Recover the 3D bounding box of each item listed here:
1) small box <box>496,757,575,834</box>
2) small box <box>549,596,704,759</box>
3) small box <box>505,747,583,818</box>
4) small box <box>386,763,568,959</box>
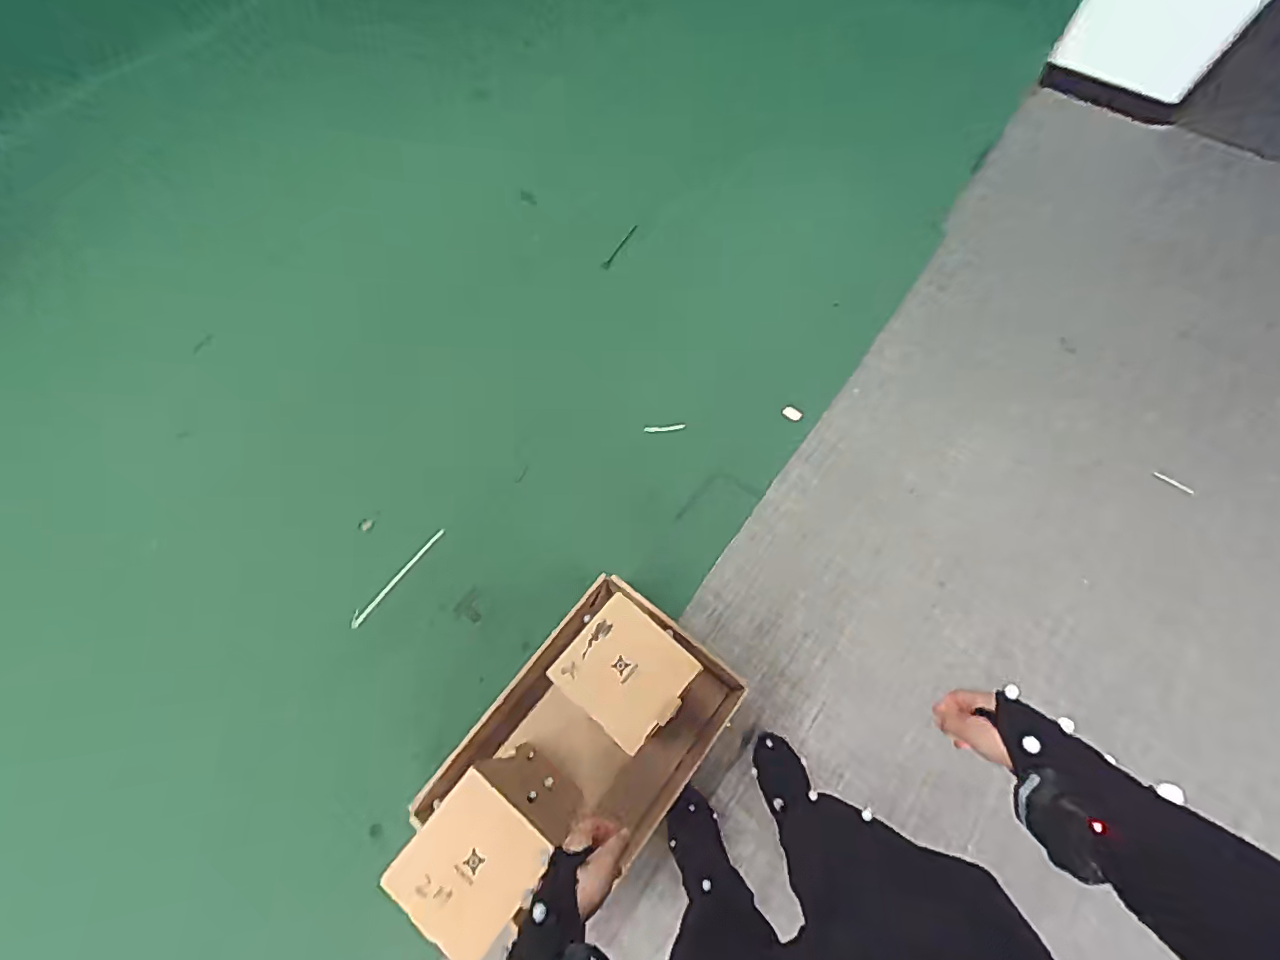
[{"bbox_3d":[-0.228,0.613,0.937,0.168,0.176,0.179,36,71,13],"label":"small box"},{"bbox_3d":[-0.019,0.313,0.881,0.179,0.176,0.168,39,75,13],"label":"small box"},{"bbox_3d":[-0.232,0.666,1.092,0.179,0.176,0.168,35,72,13],"label":"small box"},{"bbox_3d":[-0.220,0.543,0.787,0.168,0.176,0.179,36,72,14],"label":"small box"}]
